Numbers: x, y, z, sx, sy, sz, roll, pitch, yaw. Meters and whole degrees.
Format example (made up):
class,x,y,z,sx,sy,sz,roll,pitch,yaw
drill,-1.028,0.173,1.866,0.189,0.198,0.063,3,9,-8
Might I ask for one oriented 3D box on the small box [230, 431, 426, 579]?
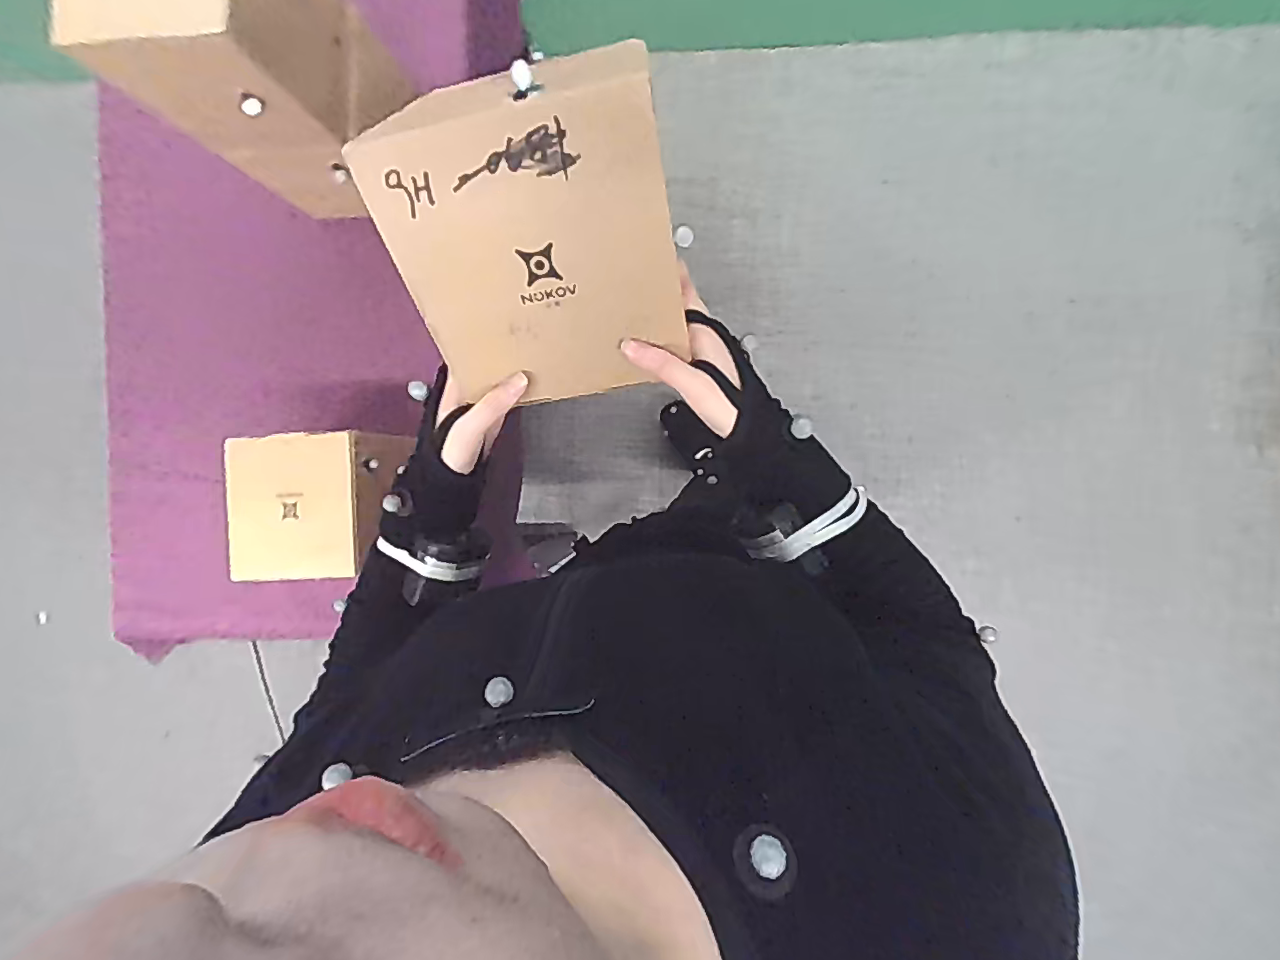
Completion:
class,x,y,z,sx,sy,sz,roll,pitch,yaw
small box,-0.408,0.031,0.732,0.168,0.176,0.179,-3,89,7

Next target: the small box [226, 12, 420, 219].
class,x,y,z,sx,sy,sz,roll,pitch,yaw
small box,-0.408,-0.473,0.727,0.179,0.176,0.168,0,90,7

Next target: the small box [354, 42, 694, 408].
class,x,y,z,sx,sy,sz,roll,pitch,yaw
small box,-0.054,-0.179,0.387,0.168,0.176,0.179,-8,133,8

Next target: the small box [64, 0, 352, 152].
class,x,y,z,sx,sy,sz,roll,pitch,yaw
small box,-0.431,-0.472,0.565,0.179,0.176,0.168,2,90,7
